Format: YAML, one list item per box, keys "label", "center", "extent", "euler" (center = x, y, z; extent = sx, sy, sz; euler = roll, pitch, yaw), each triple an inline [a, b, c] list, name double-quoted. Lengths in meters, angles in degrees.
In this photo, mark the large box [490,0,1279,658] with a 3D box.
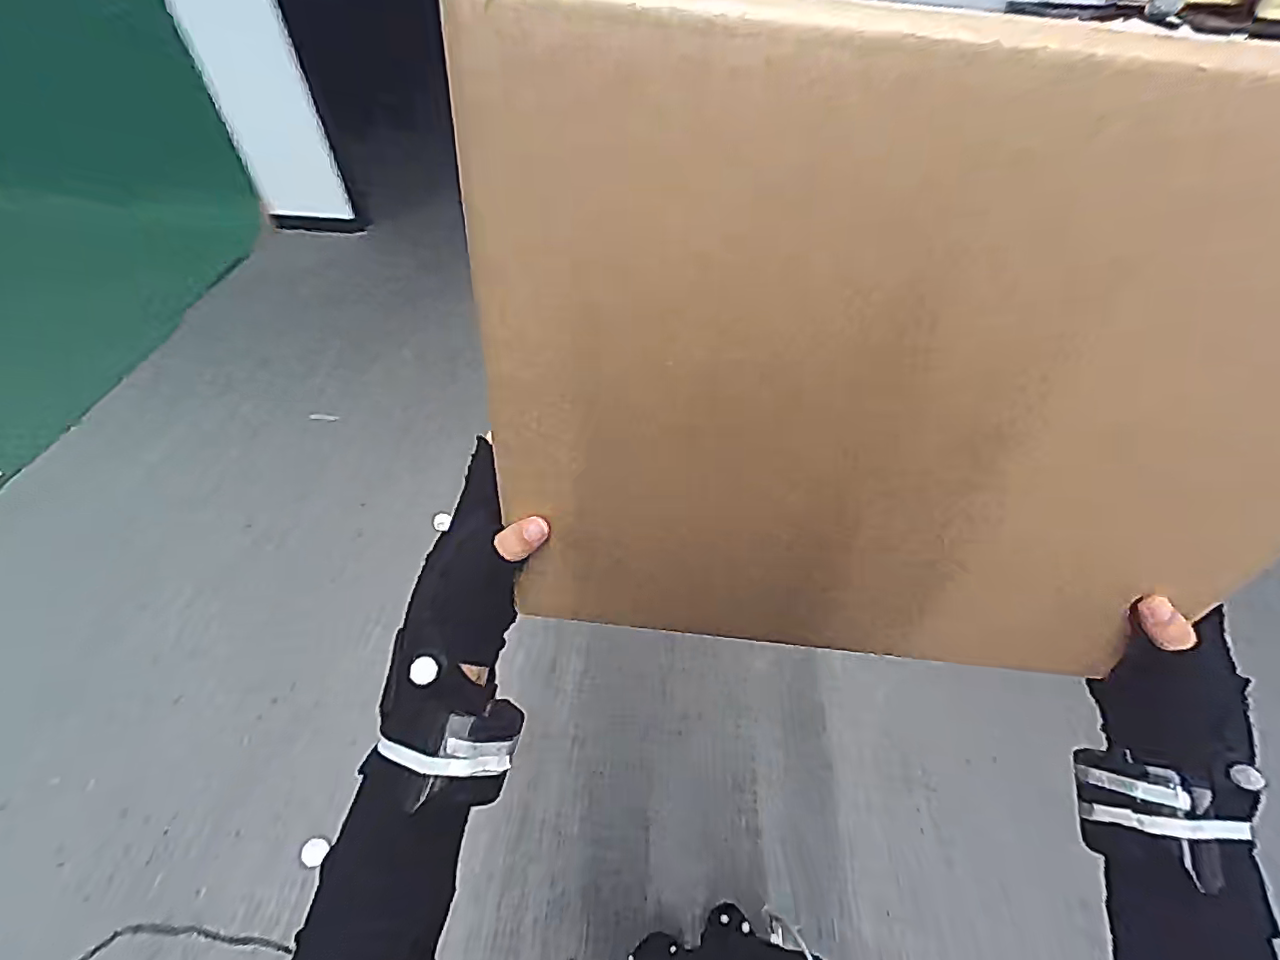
- label: "large box"
  center: [0.138, -0.104, 0.375]
  extent: [0.408, 0.320, 0.320]
  euler: [6, 42, -2]
